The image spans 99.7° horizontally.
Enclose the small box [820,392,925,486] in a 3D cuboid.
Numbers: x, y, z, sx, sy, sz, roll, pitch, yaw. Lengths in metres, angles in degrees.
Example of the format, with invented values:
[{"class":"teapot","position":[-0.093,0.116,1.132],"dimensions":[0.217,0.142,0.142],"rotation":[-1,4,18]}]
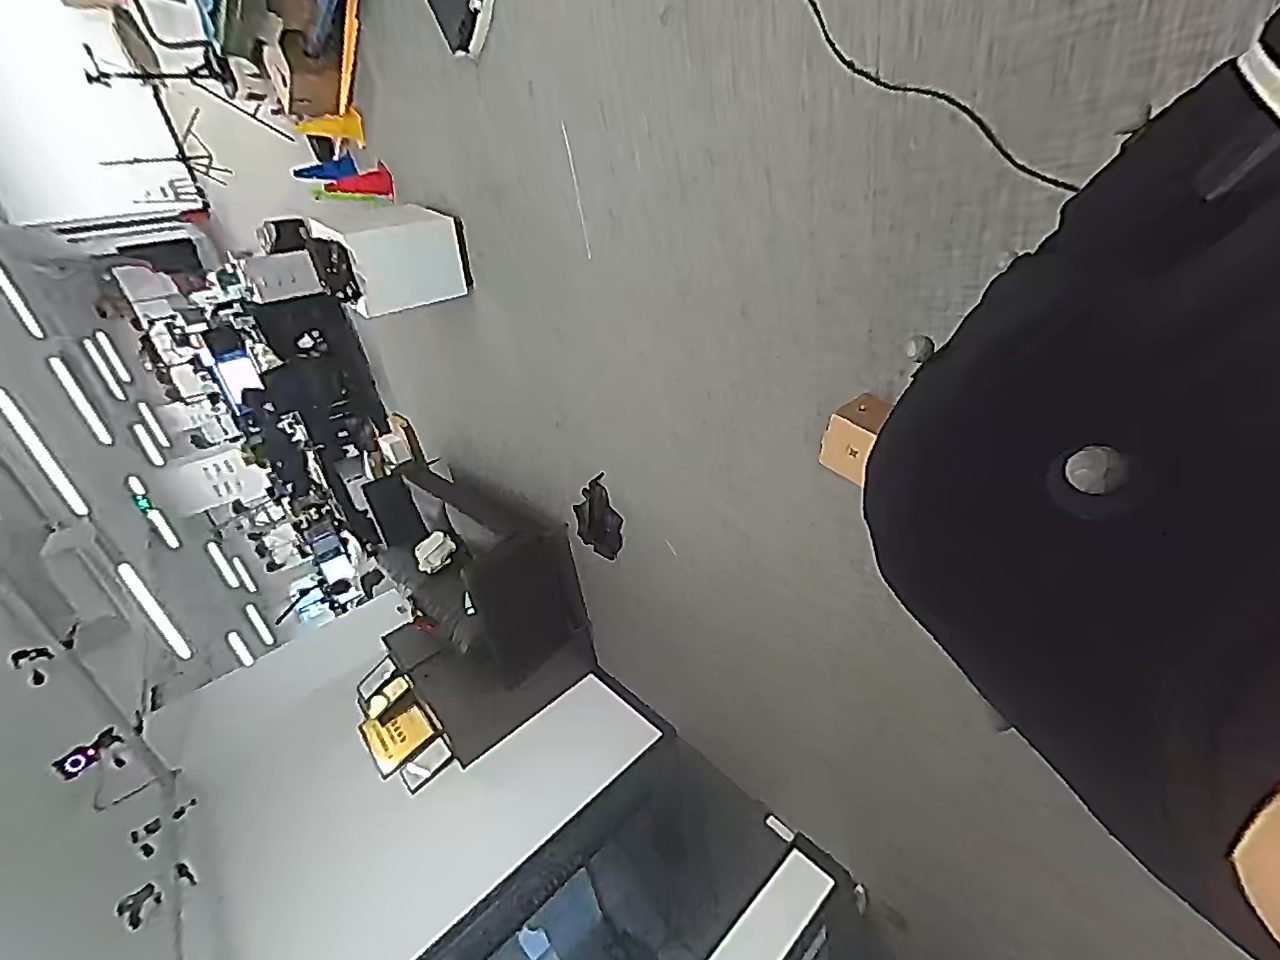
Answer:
[{"class":"small box","position":[0.625,-0.119,1.459],"dimensions":[0.179,0.176,0.168],"rotation":[36,141,33]}]
